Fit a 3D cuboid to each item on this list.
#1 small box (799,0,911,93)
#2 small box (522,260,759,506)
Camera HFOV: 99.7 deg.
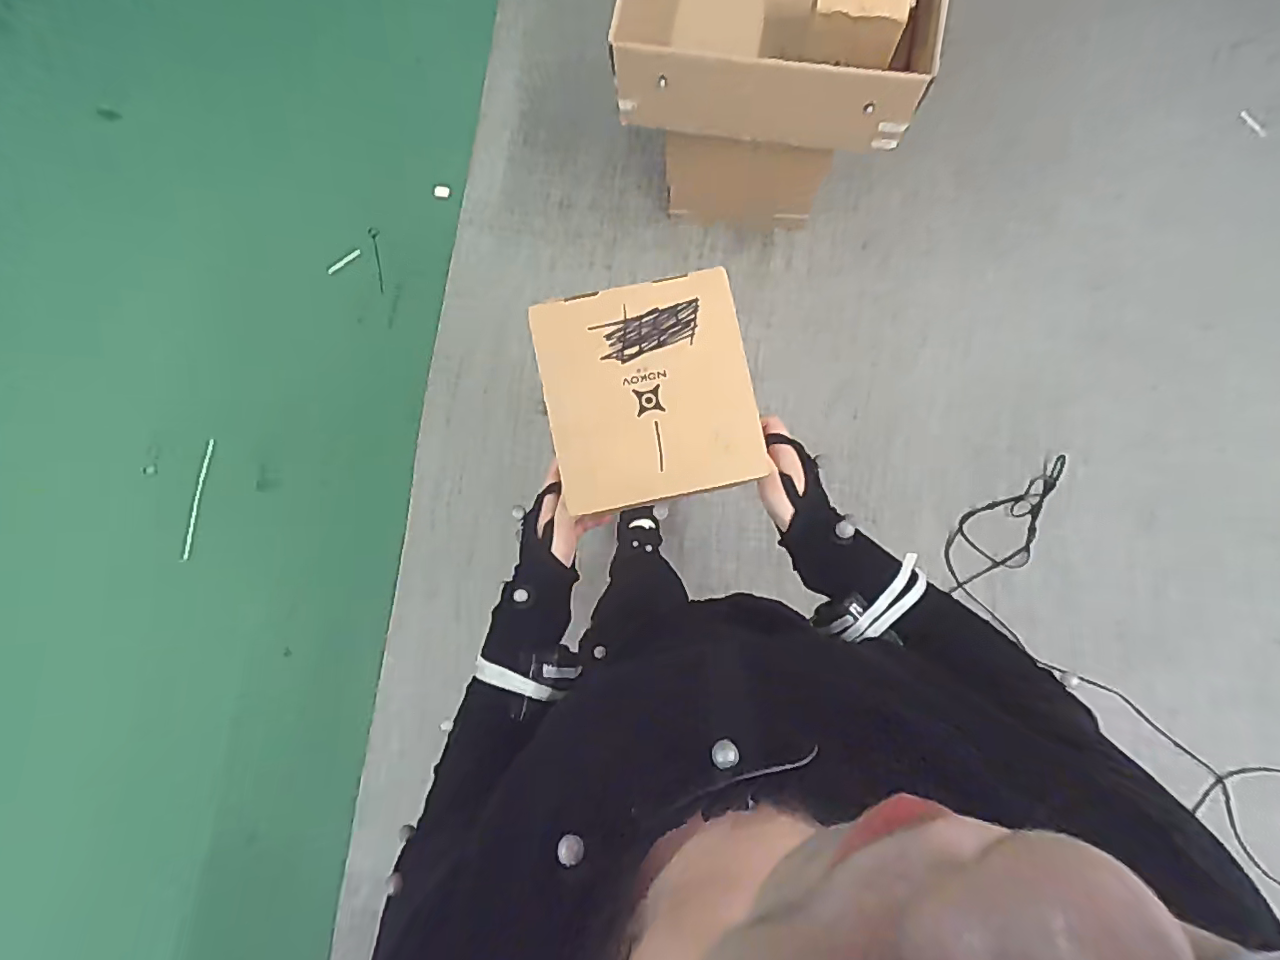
[{"bbox_3d":[0.422,-0.913,1.060,0.168,0.176,0.179,11,84,6],"label":"small box"},{"bbox_3d":[0.000,-0.075,0.511,0.168,0.176,0.179,-12,87,0],"label":"small box"}]
